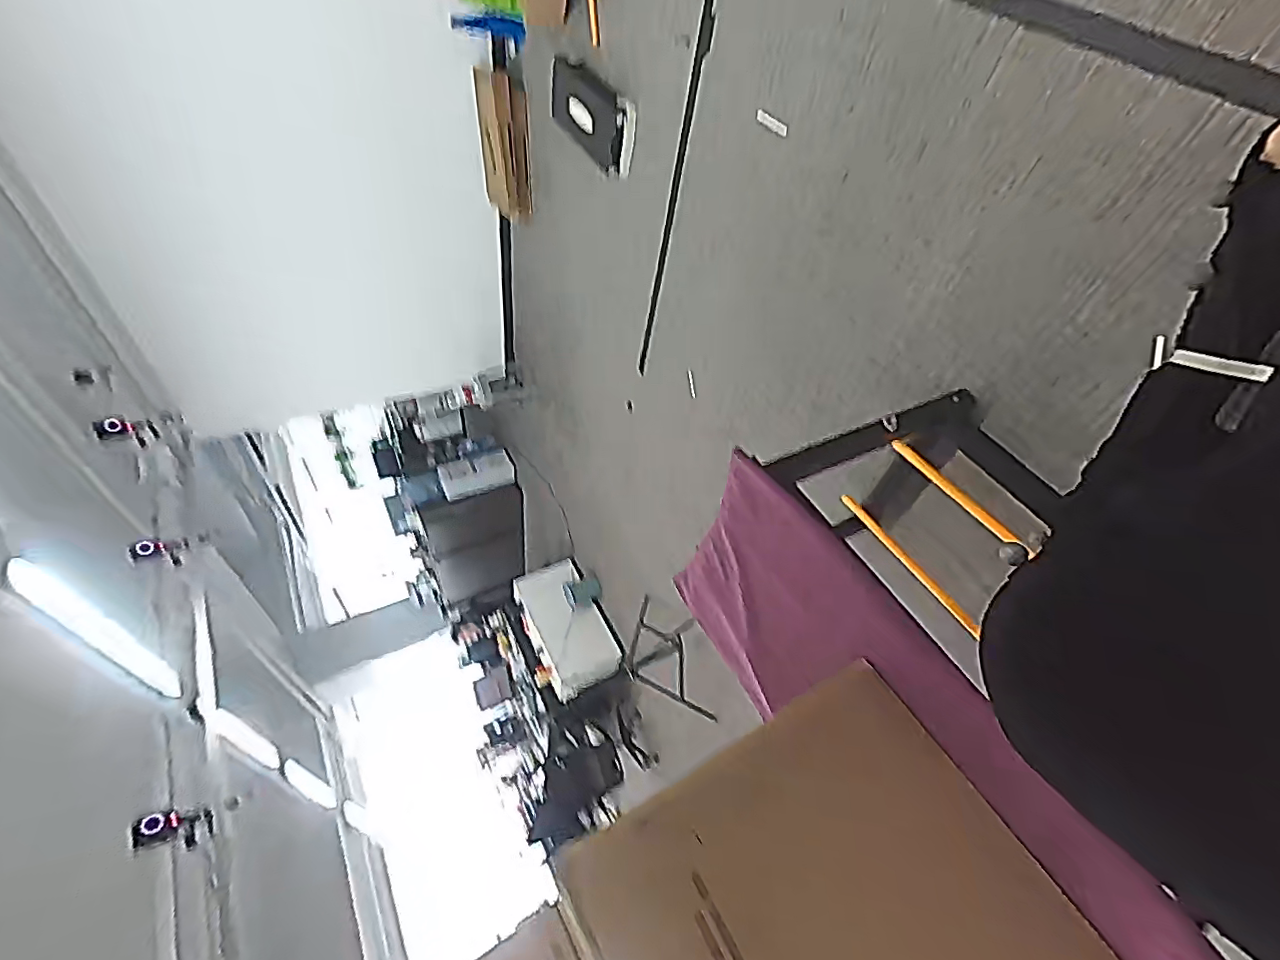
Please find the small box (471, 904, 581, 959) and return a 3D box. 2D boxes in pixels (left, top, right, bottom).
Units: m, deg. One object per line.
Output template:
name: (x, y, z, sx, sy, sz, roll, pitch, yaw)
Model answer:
small box: (-0.173, 0.802, 0.841, 0.168, 0.176, 0.179, 54, 150, 30)
